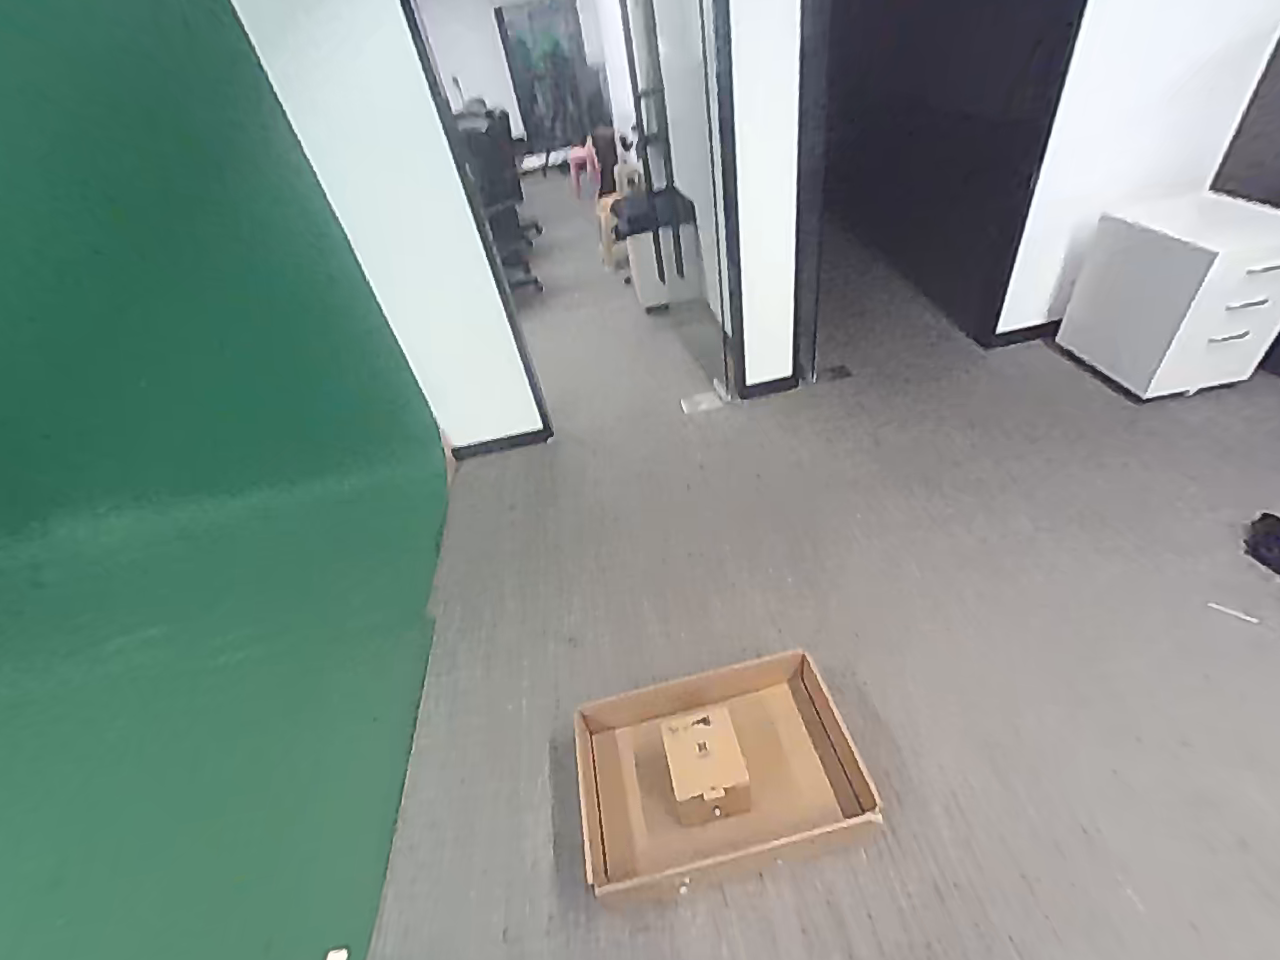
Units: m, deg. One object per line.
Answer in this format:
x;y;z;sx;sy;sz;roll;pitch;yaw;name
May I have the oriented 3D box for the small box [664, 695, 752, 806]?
0.163;0.645;1.279;0.168;0.176;0.179;-13;41;-1;small box
